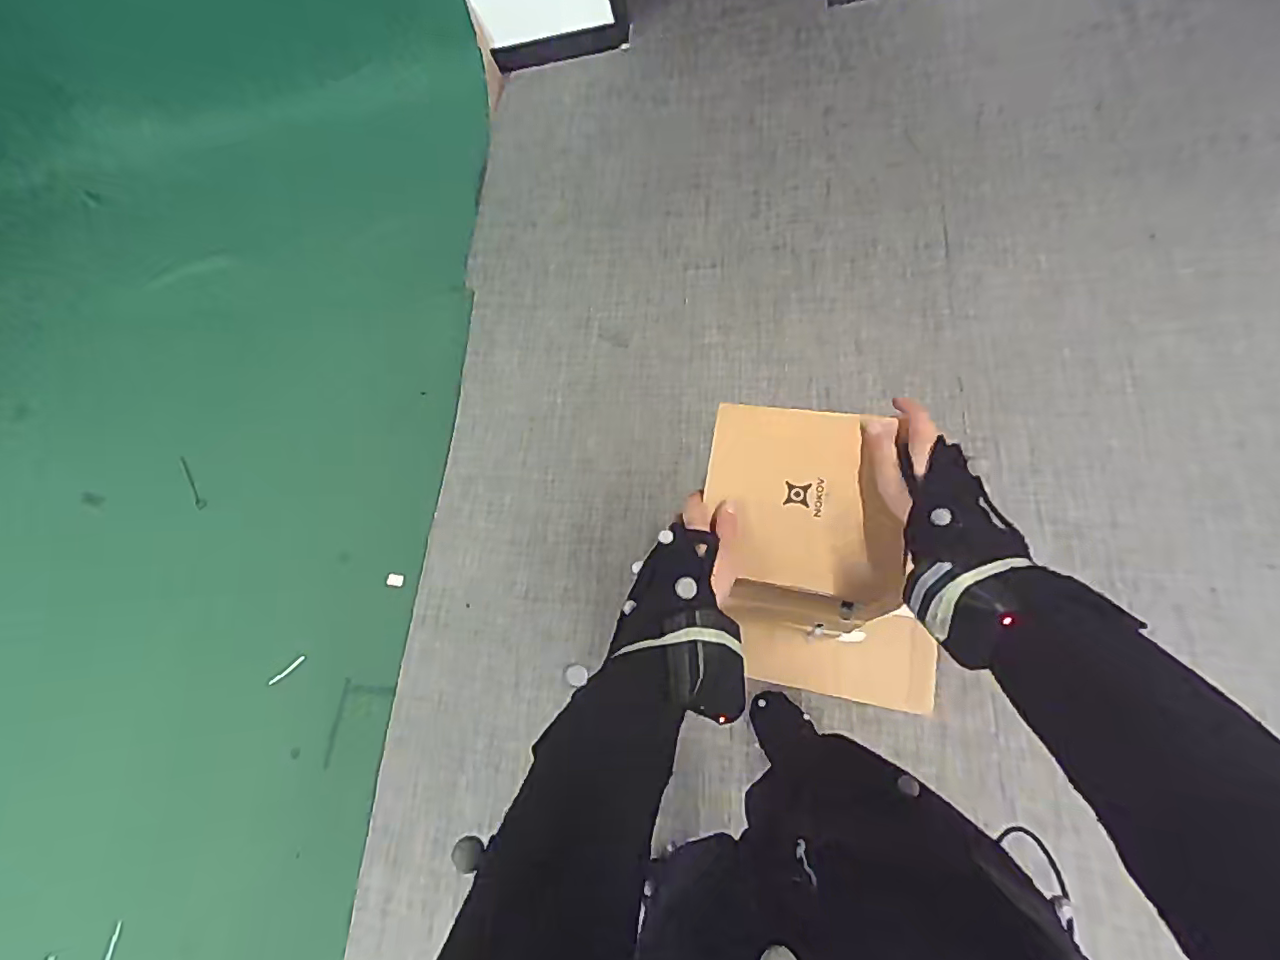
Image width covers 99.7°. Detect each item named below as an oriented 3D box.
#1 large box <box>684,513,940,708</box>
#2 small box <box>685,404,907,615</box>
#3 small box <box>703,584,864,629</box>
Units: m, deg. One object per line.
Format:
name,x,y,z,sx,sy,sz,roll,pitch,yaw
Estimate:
large box,0.319,0.233,1.058,0.408,0.320,0.320,7,75,15
small box,0.155,0.038,0.549,0.179,0.176,0.168,7,73,15
small box,0.186,0.096,0.698,0.179,0.176,0.168,4,72,15
